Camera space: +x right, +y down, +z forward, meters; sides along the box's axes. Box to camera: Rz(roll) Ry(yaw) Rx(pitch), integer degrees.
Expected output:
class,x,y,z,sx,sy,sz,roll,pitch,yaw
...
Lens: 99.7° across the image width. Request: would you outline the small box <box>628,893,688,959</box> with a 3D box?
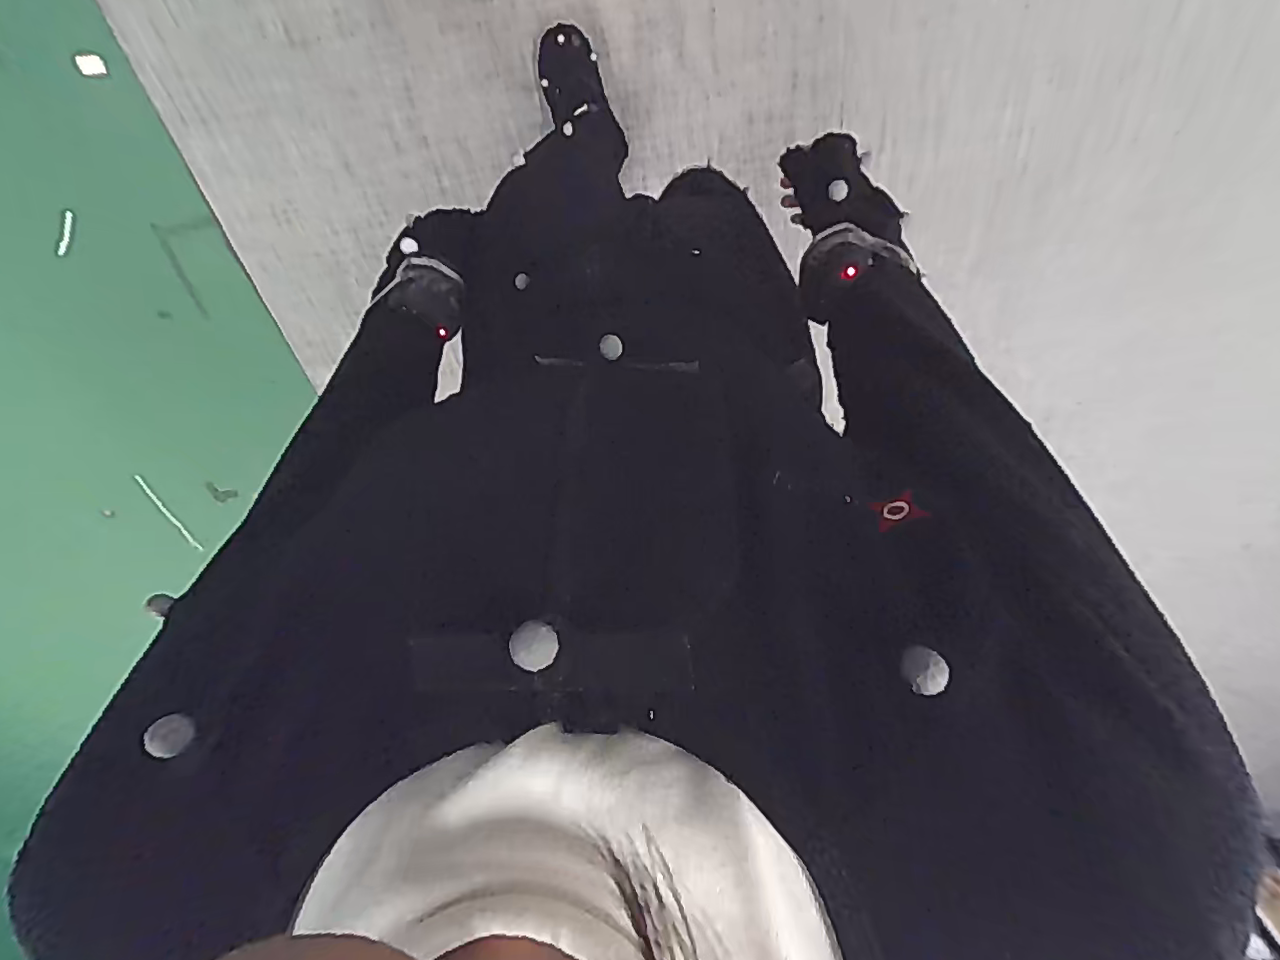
class,x,y,z,sx,sy,sz,roll,pitch,yaw
small box,0.057,1.473,1.761,0.179,0.176,0.168,-7,127,5
